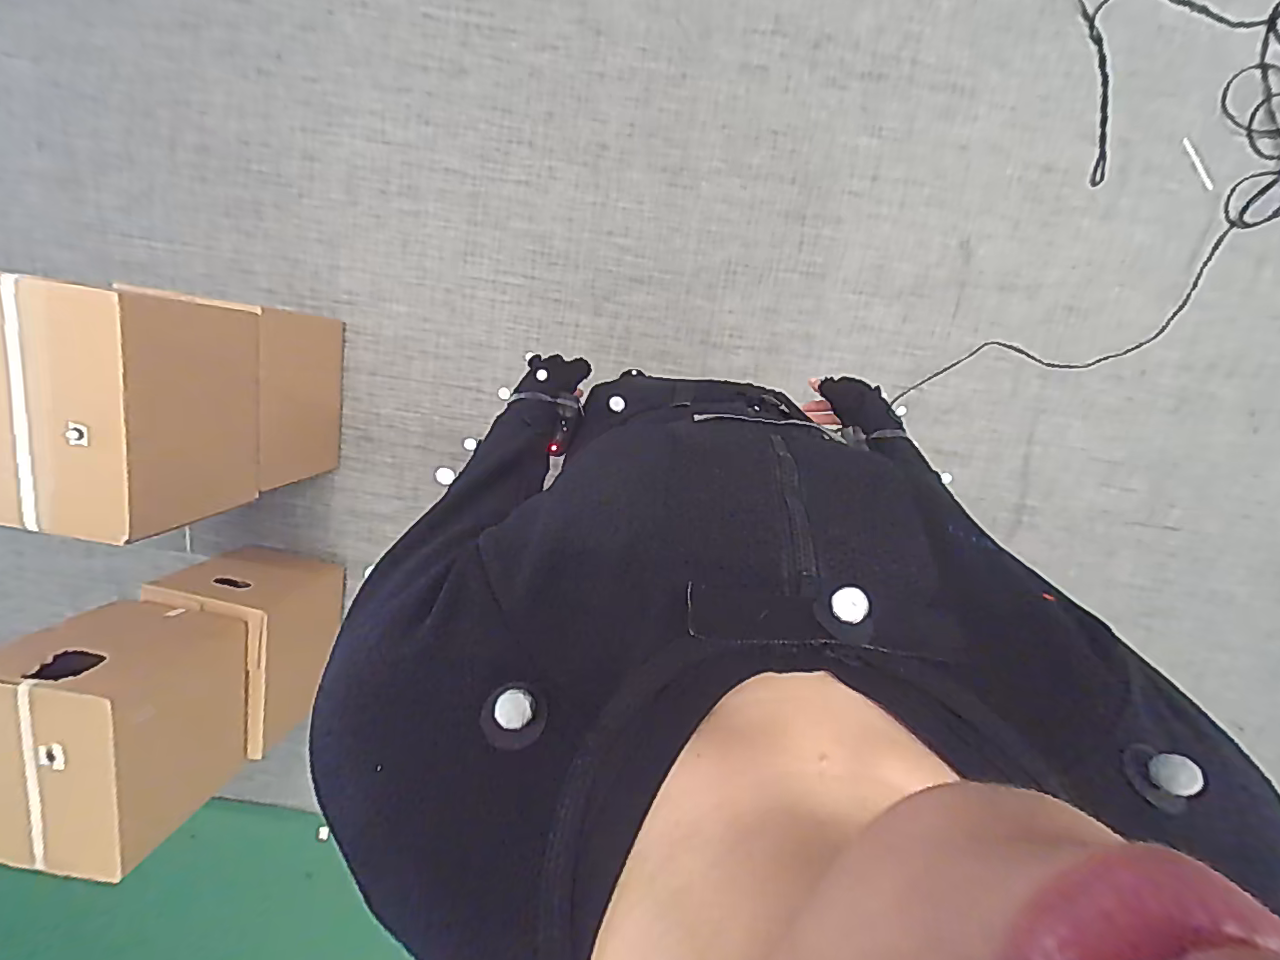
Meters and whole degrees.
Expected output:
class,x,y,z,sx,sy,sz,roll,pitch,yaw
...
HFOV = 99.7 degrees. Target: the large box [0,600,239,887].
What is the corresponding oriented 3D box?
class,x,y,z,sx,sy,sz,roll,pitch,yaw
large box,-1.100,0.517,1.126,0.320,0.320,0.408,10,100,3
